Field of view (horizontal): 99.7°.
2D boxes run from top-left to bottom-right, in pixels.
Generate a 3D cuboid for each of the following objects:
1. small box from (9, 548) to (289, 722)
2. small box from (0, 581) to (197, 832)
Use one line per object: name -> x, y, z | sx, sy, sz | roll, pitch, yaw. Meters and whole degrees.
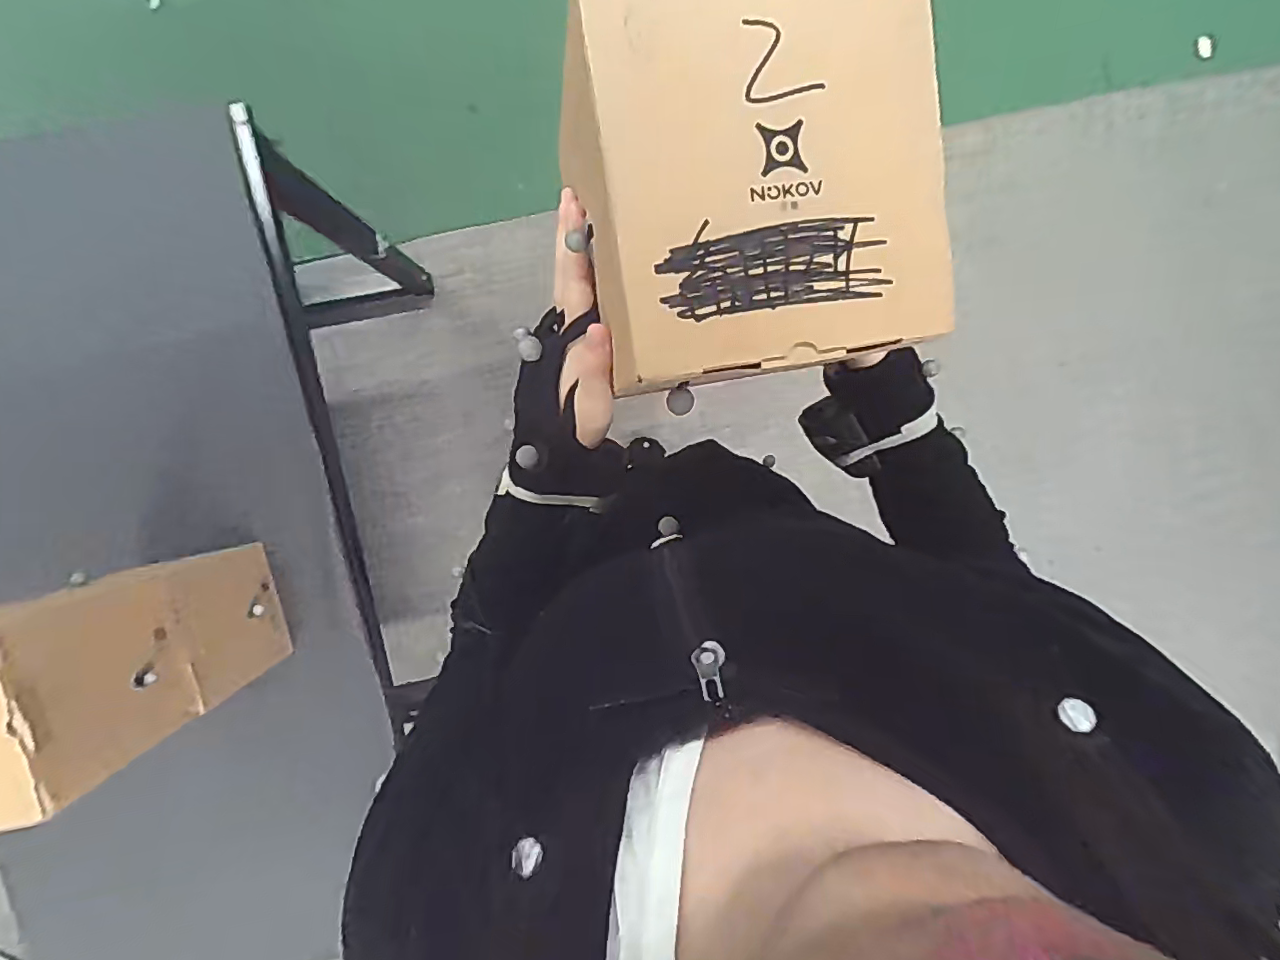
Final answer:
small box -> -0.587, 0.194, 0.671 | 0.179, 0.176, 0.168 | -12, 96, 0
small box -> -0.583, 0.208, 0.509 | 0.179, 0.176, 0.168 | -12, 95, 0
